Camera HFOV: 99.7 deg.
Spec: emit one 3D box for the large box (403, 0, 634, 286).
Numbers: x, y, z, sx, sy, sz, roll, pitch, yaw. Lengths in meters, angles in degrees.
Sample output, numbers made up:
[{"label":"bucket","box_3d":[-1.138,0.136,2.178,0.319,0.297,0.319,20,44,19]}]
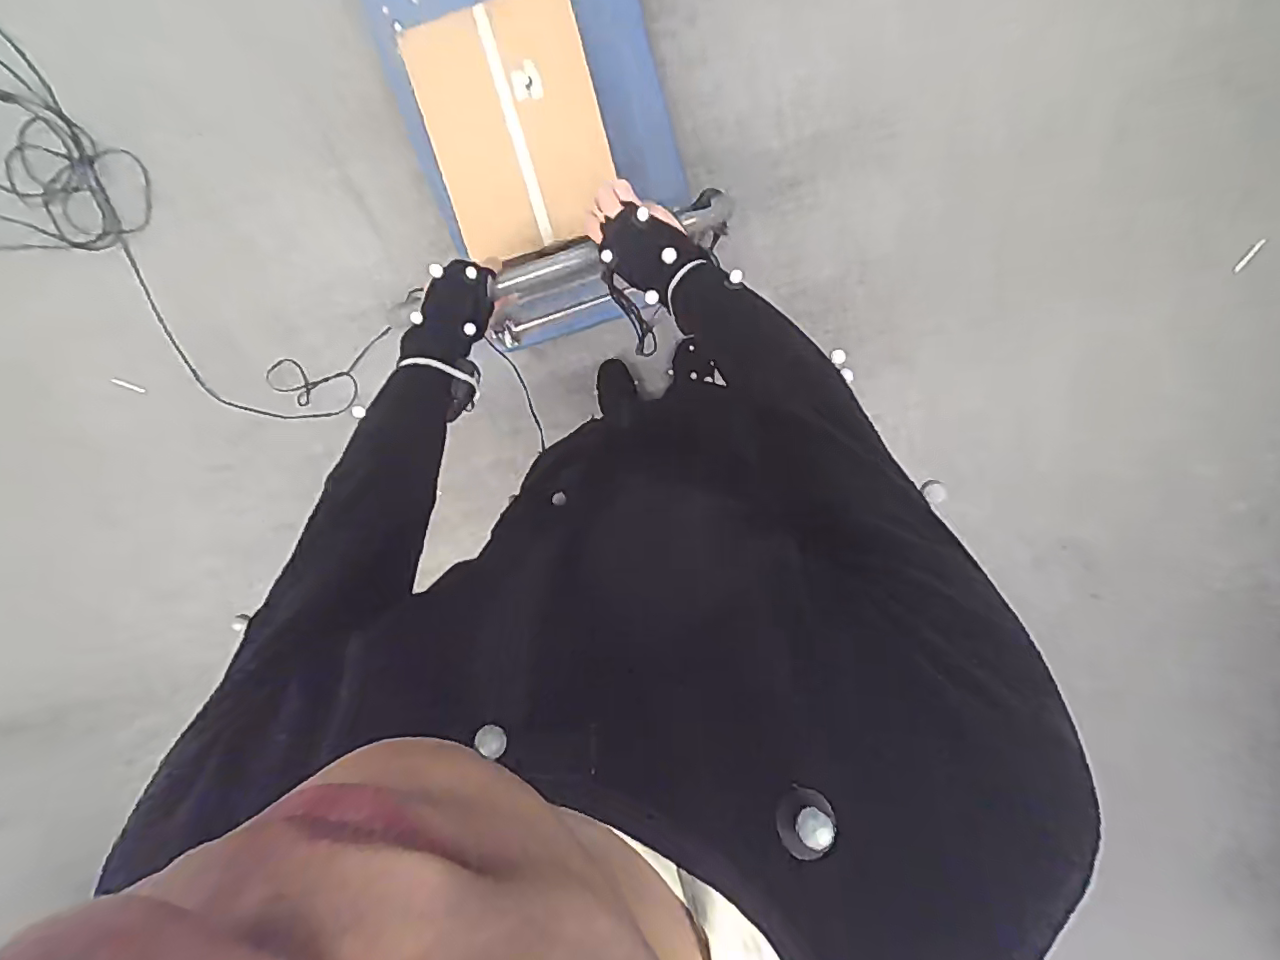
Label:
[{"label":"large box","box_3d":[-0.216,-0.662,1.133,0.320,0.320,0.408,-15,104,5]}]
